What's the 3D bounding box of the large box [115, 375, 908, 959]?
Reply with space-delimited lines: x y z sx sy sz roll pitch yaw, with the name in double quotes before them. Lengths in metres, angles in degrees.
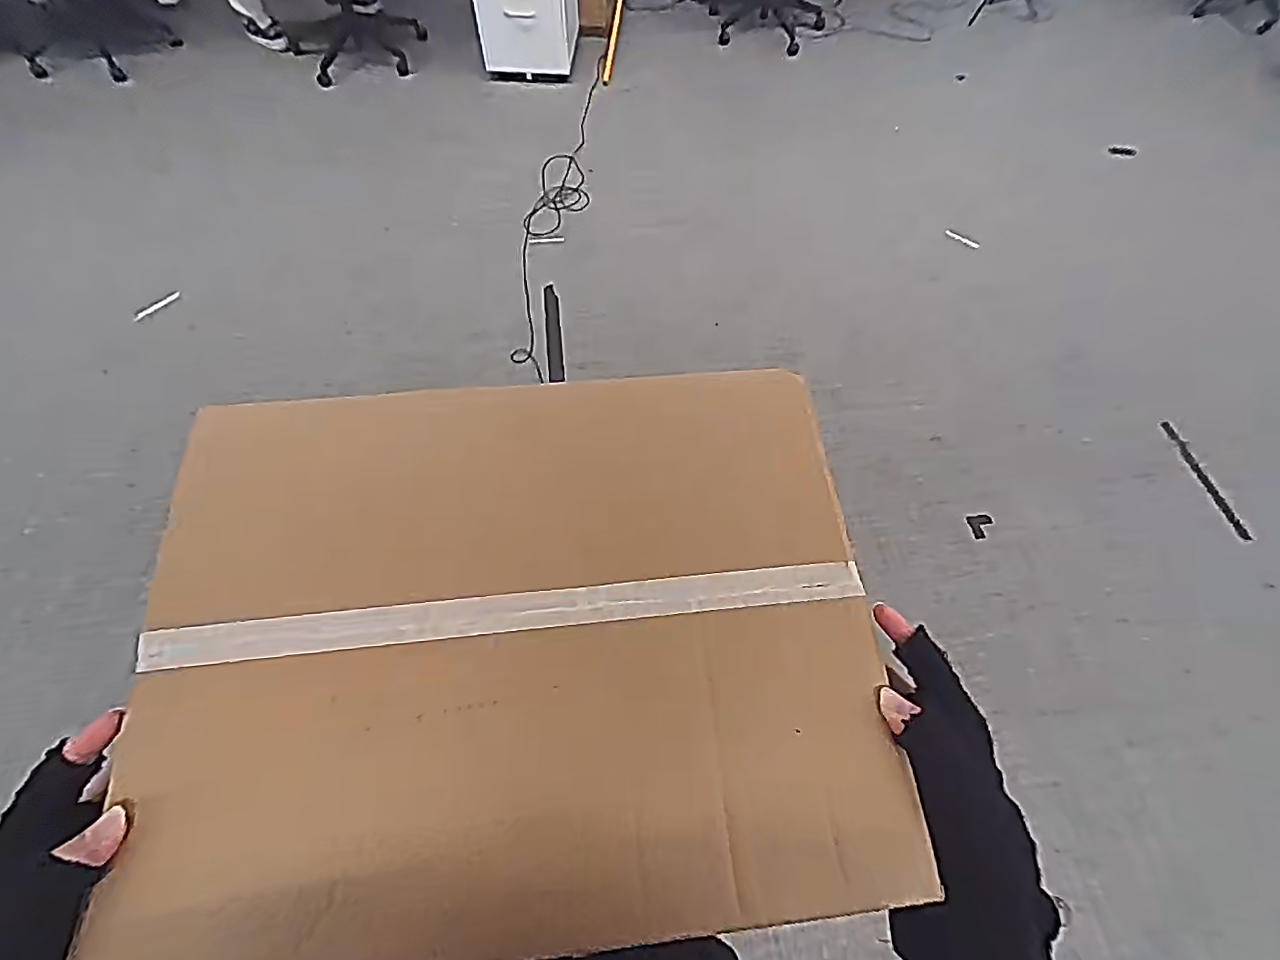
"large box" -0.076 0.138 0.465 0.408 0.320 0.320 -5 67 -4
